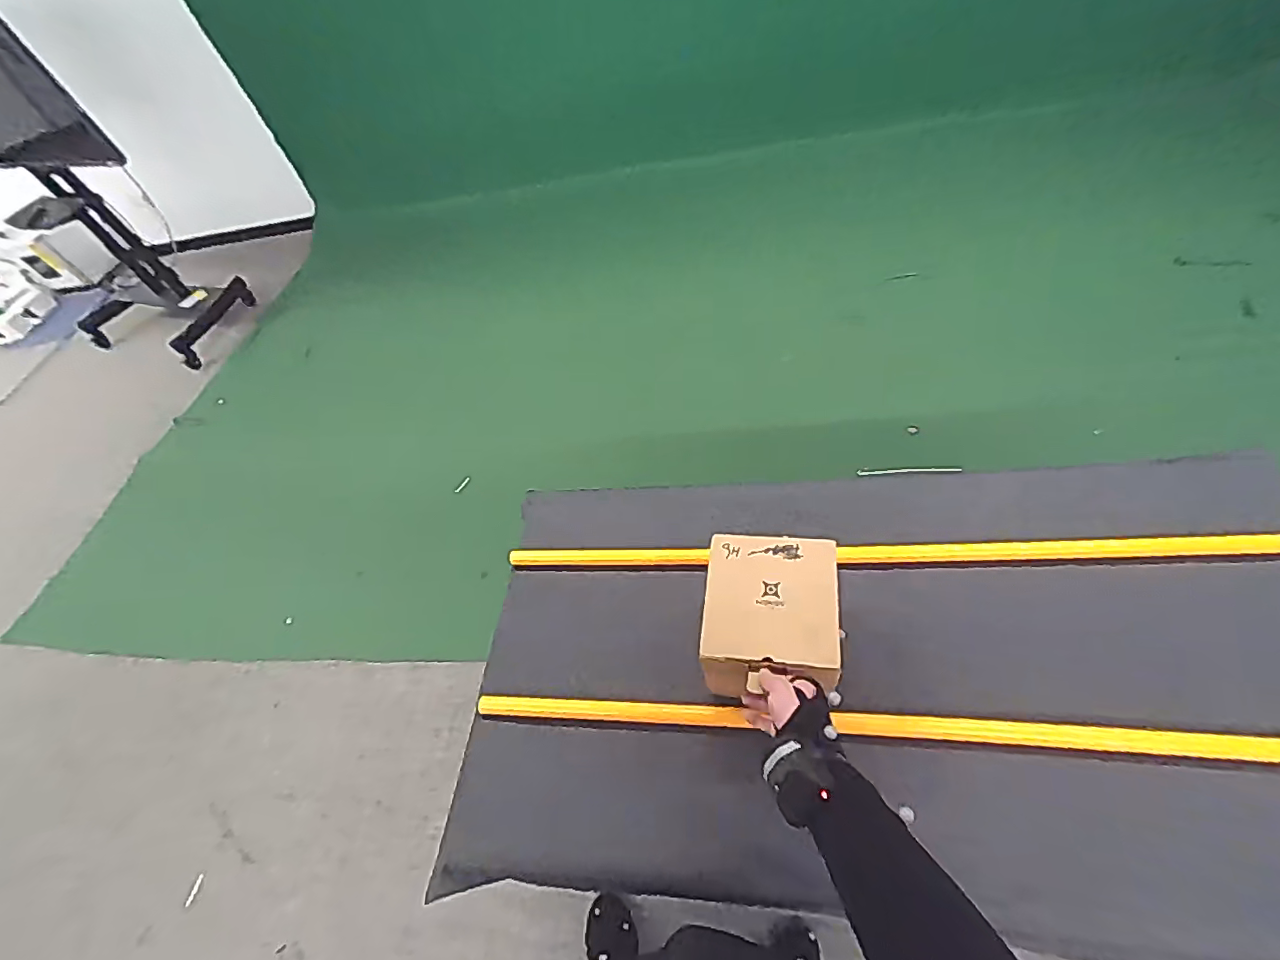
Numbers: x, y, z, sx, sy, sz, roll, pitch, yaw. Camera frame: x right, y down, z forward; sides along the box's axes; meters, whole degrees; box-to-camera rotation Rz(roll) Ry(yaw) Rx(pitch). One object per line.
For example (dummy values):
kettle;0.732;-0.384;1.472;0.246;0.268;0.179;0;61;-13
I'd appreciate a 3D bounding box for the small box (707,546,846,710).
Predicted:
small box;0.189;0.208;0.752;0.168;0.176;0.179;-2;53;14
